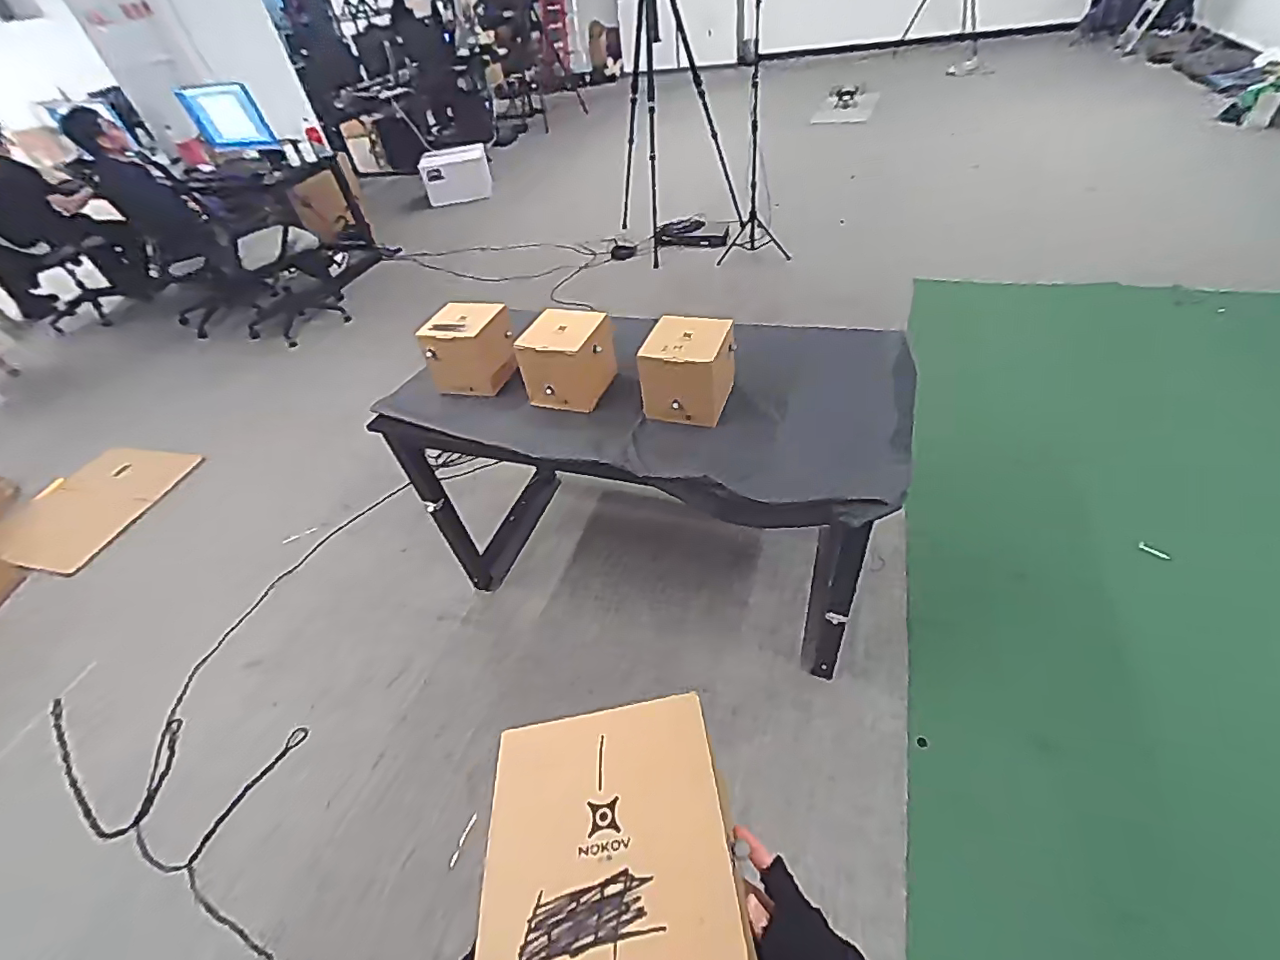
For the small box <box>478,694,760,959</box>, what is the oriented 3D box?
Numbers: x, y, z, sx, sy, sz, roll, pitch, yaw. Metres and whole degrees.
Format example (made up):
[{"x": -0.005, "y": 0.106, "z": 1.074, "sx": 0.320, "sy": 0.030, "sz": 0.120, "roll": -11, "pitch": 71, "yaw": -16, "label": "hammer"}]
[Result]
[{"x": -0.006, "y": 0.300, "z": 0.416, "sx": 0.168, "sy": 0.176, "sz": 0.179, "roll": -12, "pitch": 37, "yaw": 3, "label": "small box"}]

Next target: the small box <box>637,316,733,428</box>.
[{"x": 0.104, "y": -0.242, "z": 1.205, "sx": 0.168, "sy": 0.176, "sz": 0.179, "roll": 10, "pitch": 48, "yaw": 19, "label": "small box"}]

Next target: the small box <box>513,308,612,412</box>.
[{"x": -0.176, "y": -0.288, "z": 1.298, "sx": 0.168, "sy": 0.176, "sz": 0.179, "roll": 11, "pitch": 48, "yaw": 18, "label": "small box"}]
